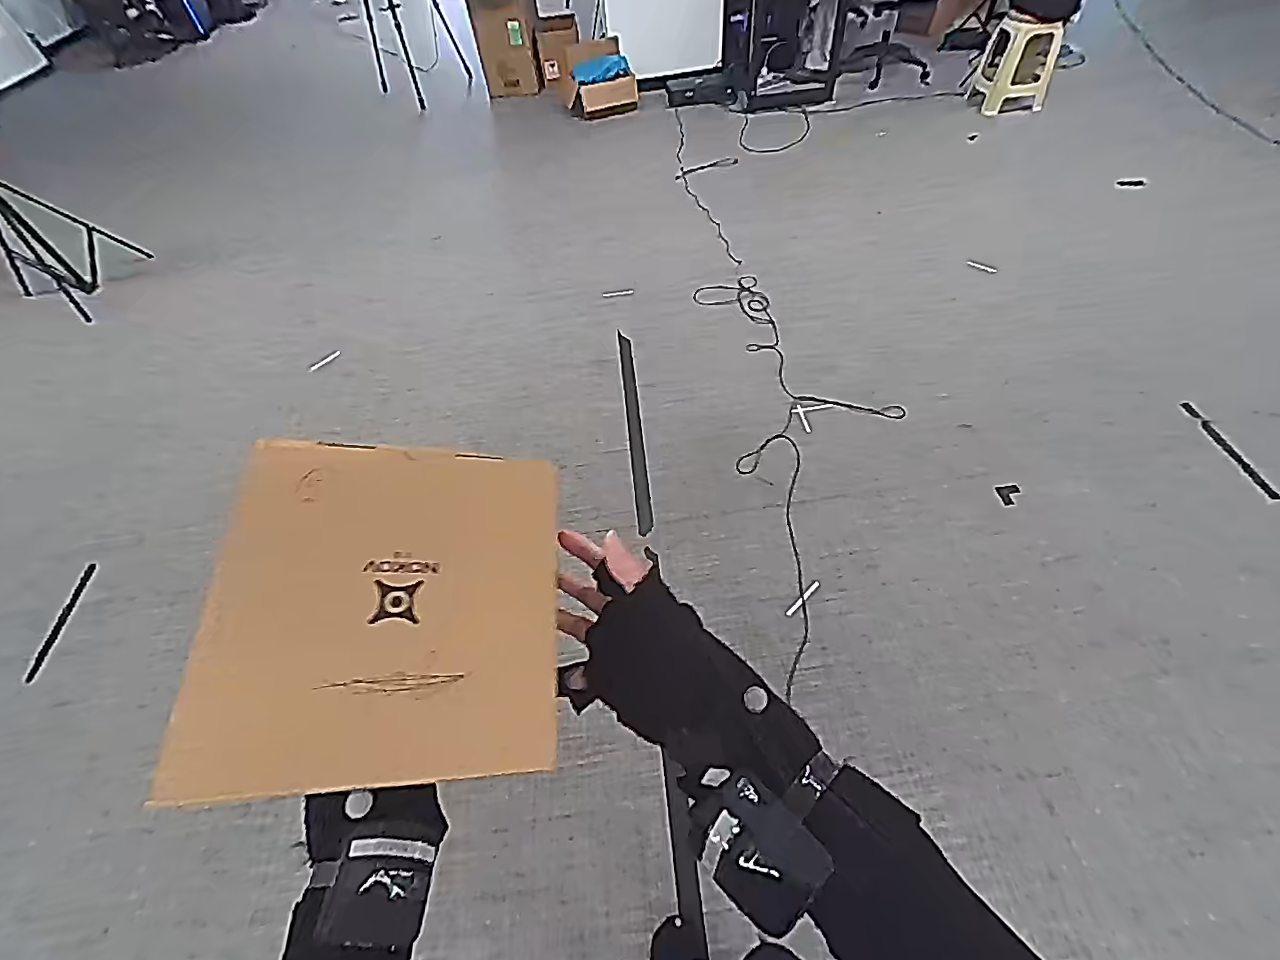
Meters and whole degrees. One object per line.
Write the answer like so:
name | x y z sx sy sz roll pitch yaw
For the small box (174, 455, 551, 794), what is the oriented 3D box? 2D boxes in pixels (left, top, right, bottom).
small box | -0.155 0.105 0.363 0.168 0.176 0.179 4 61 -16
